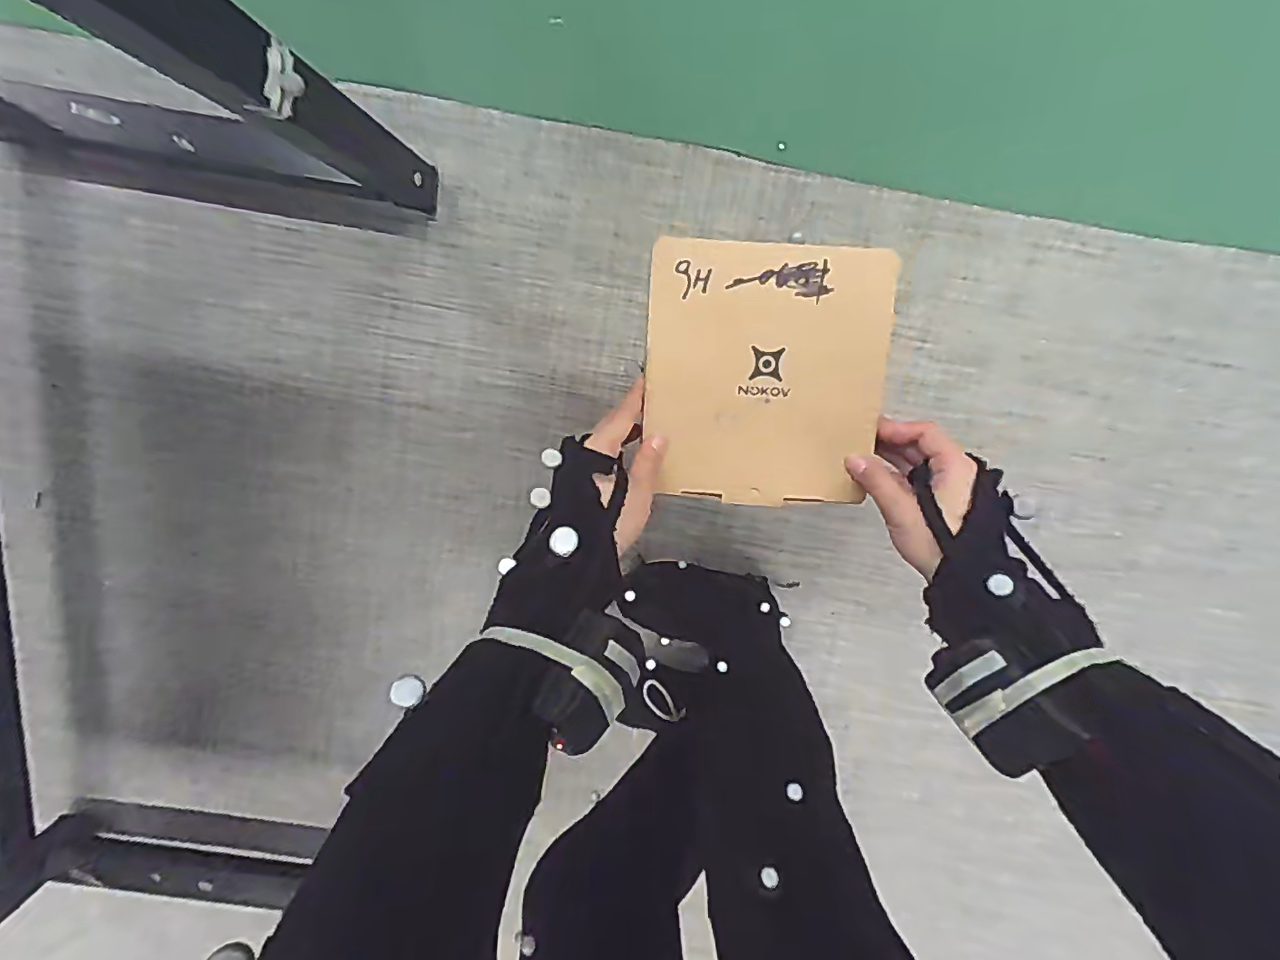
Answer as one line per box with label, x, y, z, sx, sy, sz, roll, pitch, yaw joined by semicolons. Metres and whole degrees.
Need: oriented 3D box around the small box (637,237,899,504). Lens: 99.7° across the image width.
small box;0.086;-0.089;0.455;0.168;0.176;0.179;3;102;-1
